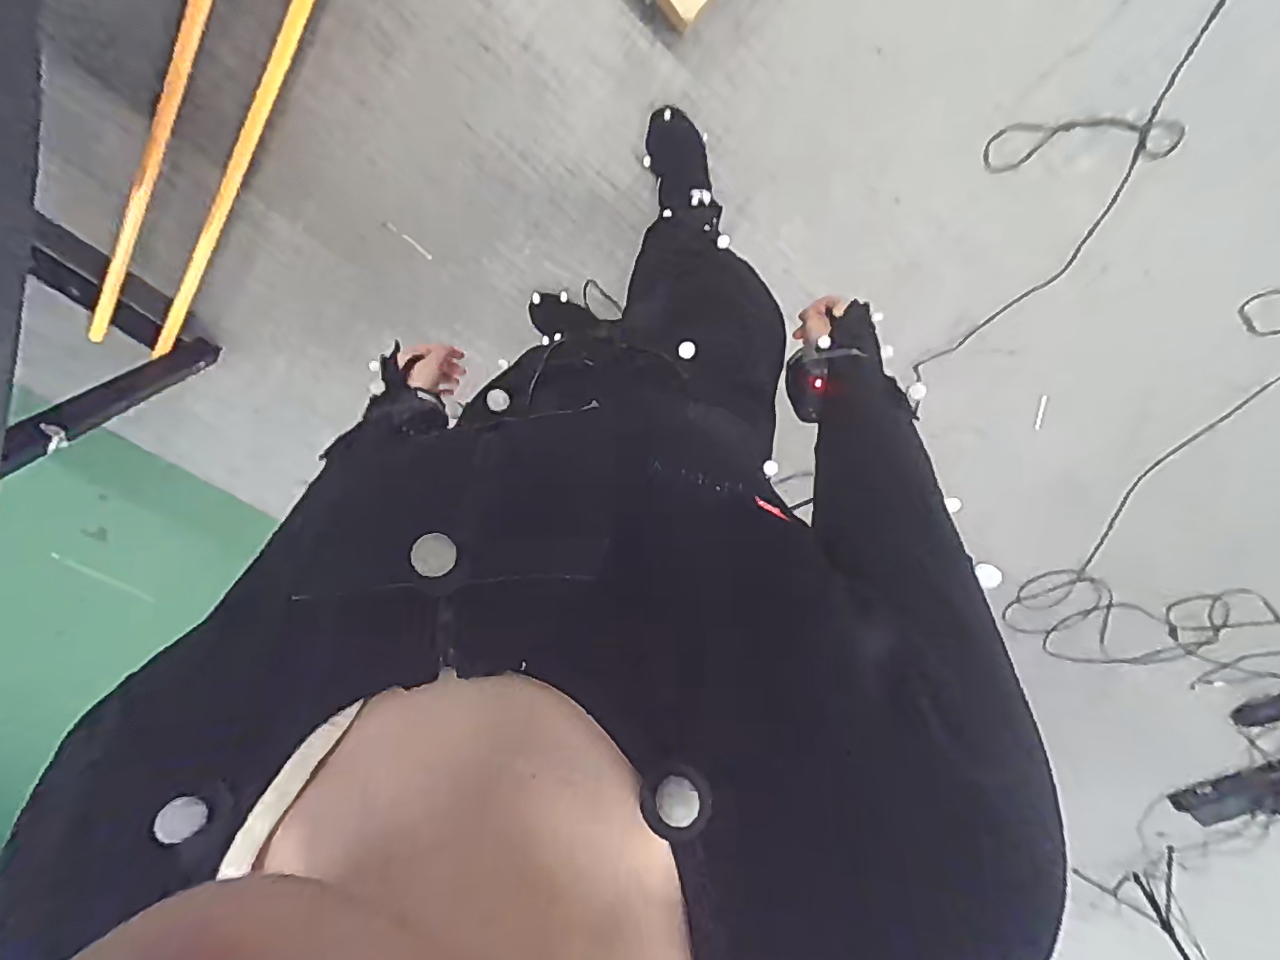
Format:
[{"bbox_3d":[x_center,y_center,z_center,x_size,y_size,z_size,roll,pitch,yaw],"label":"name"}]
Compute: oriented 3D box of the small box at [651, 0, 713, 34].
[{"bbox_3d":[0.074,-0.846,0.837,0.168,0.176,0.179,38,117,-20],"label":"small box"}]
